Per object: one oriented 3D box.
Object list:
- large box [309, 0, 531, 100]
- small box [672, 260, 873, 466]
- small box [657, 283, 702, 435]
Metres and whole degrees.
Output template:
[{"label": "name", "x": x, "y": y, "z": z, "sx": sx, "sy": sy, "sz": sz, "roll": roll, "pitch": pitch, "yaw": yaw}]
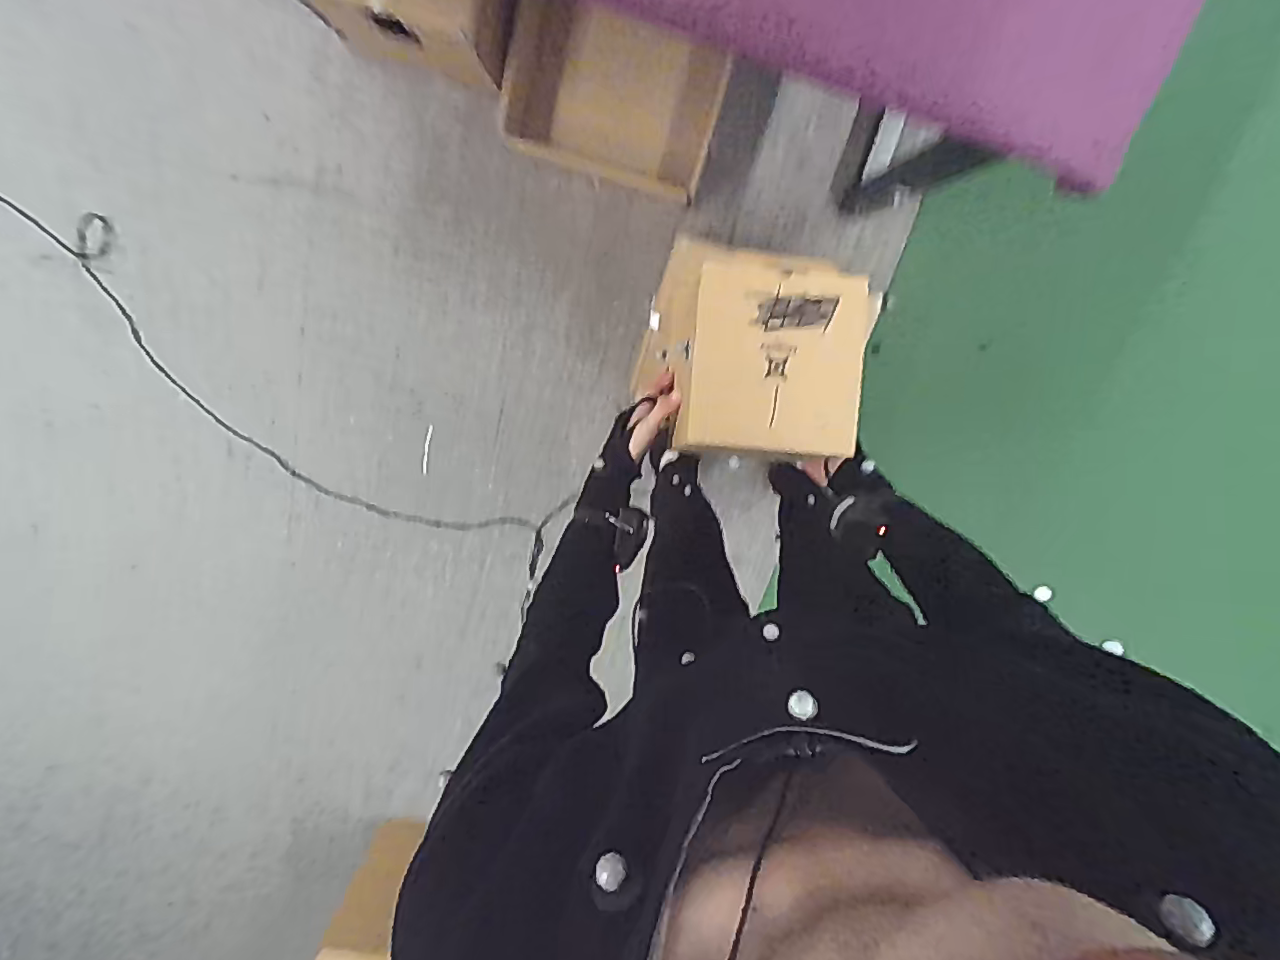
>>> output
[{"label": "large box", "x": -0.363, "y": -0.984, "z": 0.950, "sx": 0.320, "sy": 0.320, "sz": 0.408, "roll": 15, "pitch": 109, "yaw": -4}, {"label": "small box", "x": 0.130, "y": -0.112, "z": 0.588, "sx": 0.168, "sy": 0.176, "sz": 0.179, "roll": 5, "pitch": 90, "yaw": -2}, {"label": "small box", "x": 0.116, "y": -0.153, "z": 0.752, "sx": 0.168, "sy": 0.176, "sz": 0.179, "roll": 3, "pitch": 90, "yaw": -3}]
